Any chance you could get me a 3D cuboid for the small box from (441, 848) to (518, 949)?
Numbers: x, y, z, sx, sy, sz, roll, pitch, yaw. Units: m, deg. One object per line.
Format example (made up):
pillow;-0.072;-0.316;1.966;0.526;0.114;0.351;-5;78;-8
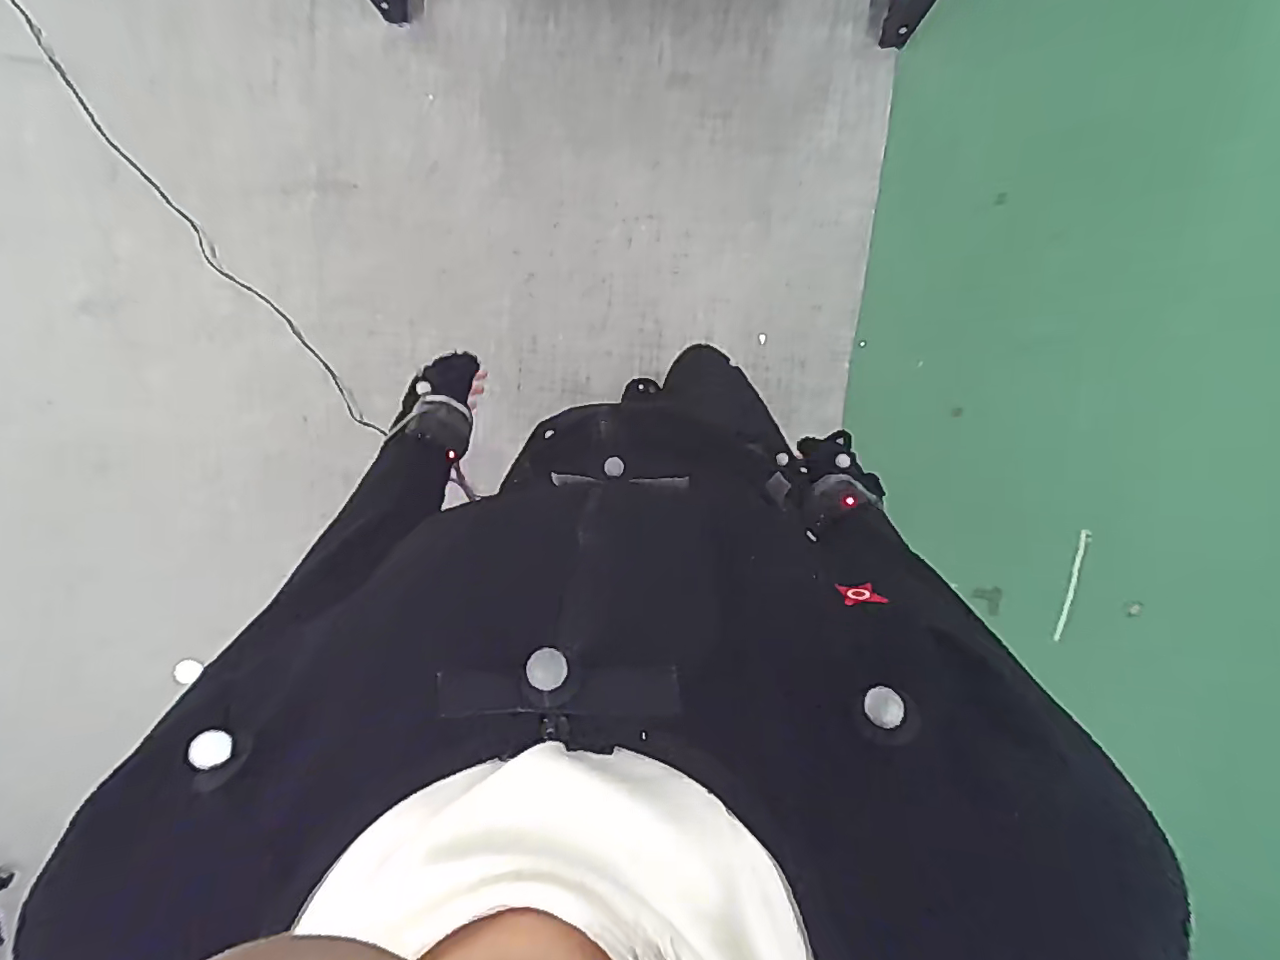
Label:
small box;-0.459;1.212;1.573;0.179;0.176;0.168;2;103;2
